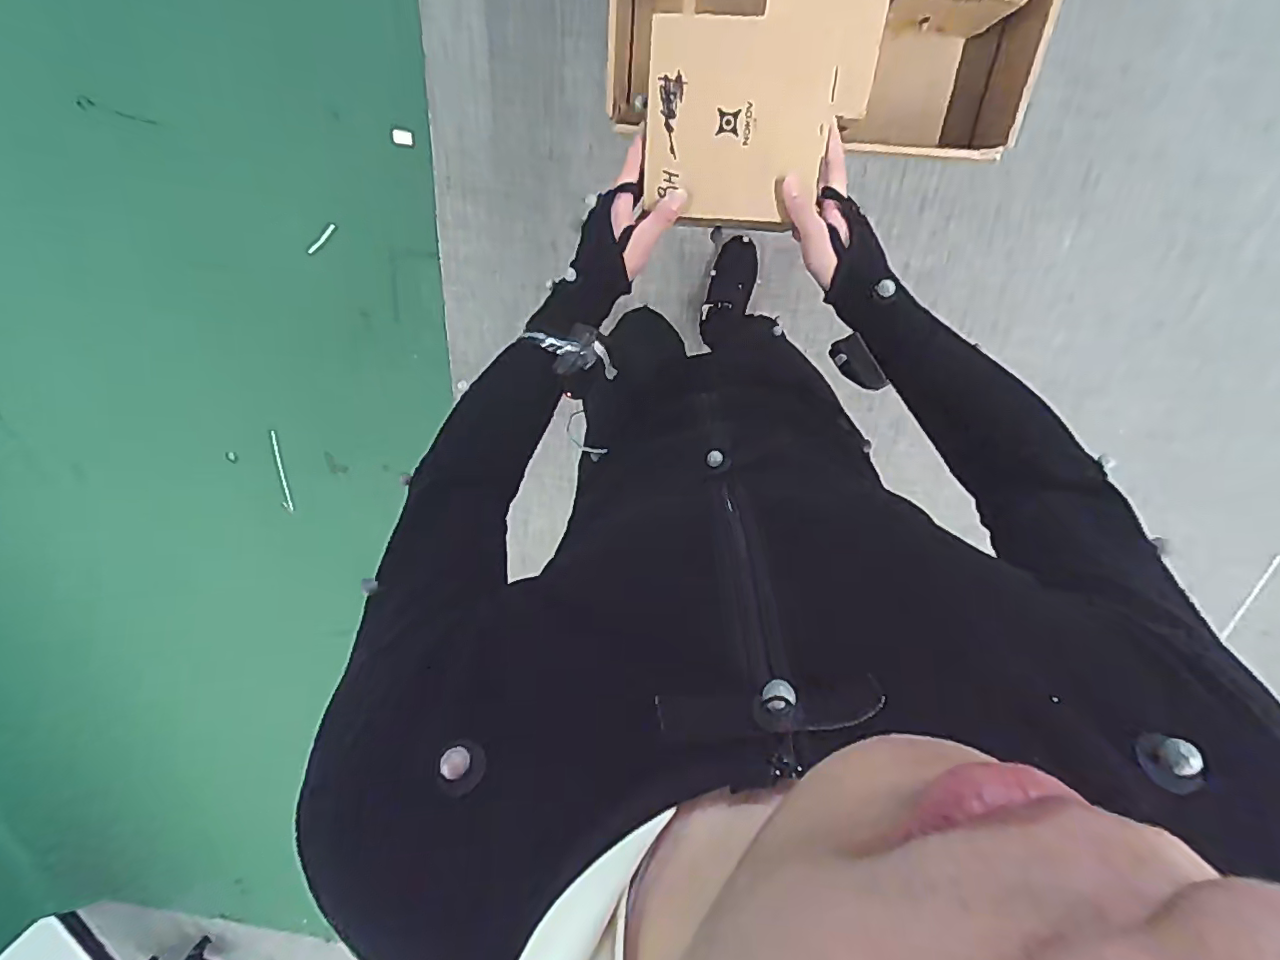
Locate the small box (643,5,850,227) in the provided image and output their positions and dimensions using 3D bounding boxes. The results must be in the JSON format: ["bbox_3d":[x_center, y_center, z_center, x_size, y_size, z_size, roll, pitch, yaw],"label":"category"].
[{"bbox_3d":[0.099,-0.372,0.585,0.179,0.176,0.168,5,112,1],"label":"small box"}]

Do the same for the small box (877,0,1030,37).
[{"bbox_3d":[0.449,-0.750,0.744,0.168,0.176,0.179,8,118,3],"label":"small box"}]
